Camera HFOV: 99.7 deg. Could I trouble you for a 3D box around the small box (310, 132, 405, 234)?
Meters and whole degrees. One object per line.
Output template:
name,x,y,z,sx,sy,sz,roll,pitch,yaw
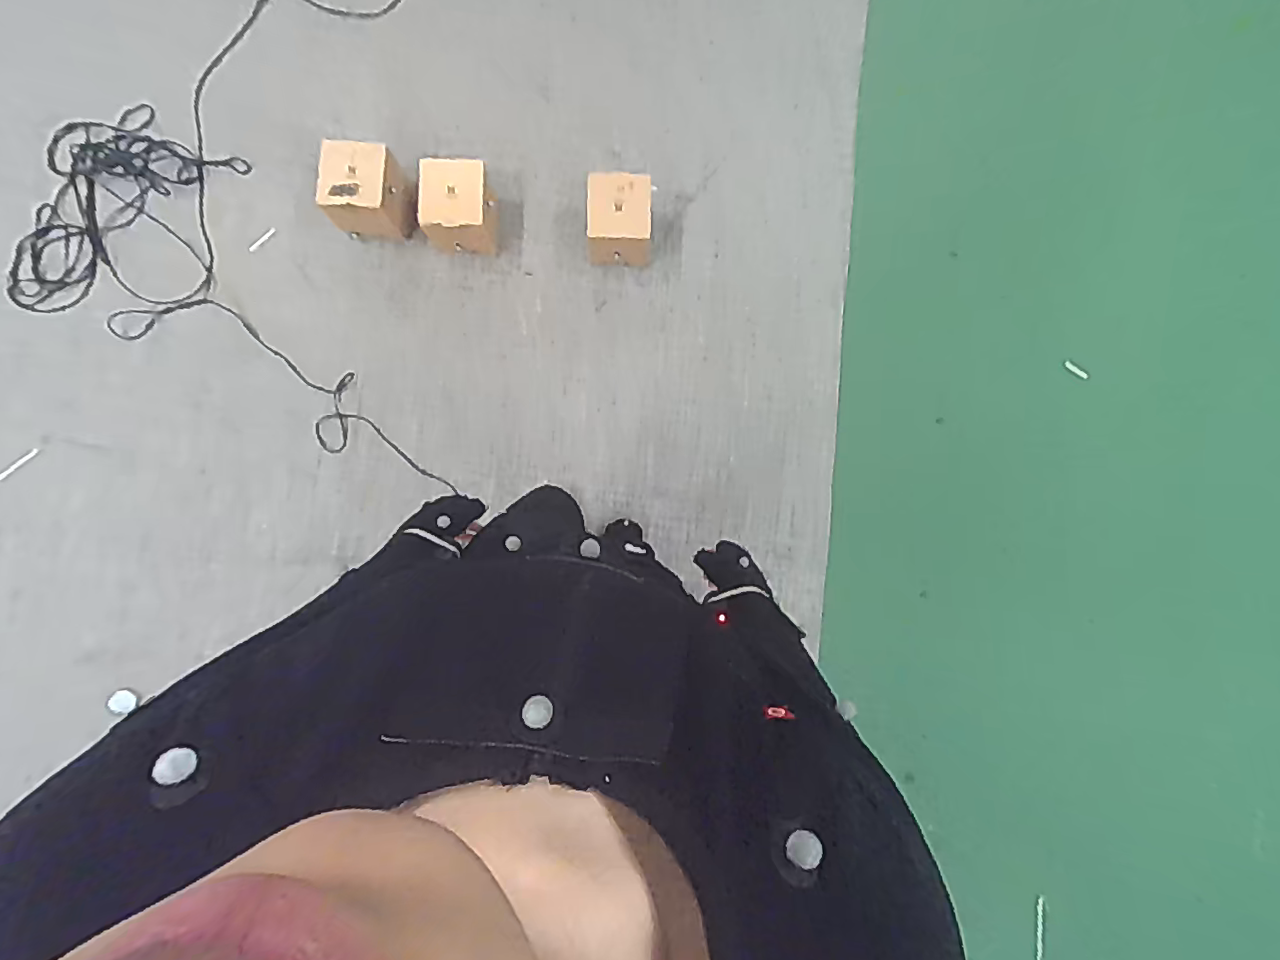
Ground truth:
small box,-0.742,-0.781,1.438,0.168,0.176,0.179,3,86,-2

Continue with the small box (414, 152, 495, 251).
small box,-0.490,-0.739,1.446,0.168,0.176,0.179,0,87,-2

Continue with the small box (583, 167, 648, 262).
small box,-0.065,-0.709,1.461,0.168,0.176,0.179,1,87,-3
